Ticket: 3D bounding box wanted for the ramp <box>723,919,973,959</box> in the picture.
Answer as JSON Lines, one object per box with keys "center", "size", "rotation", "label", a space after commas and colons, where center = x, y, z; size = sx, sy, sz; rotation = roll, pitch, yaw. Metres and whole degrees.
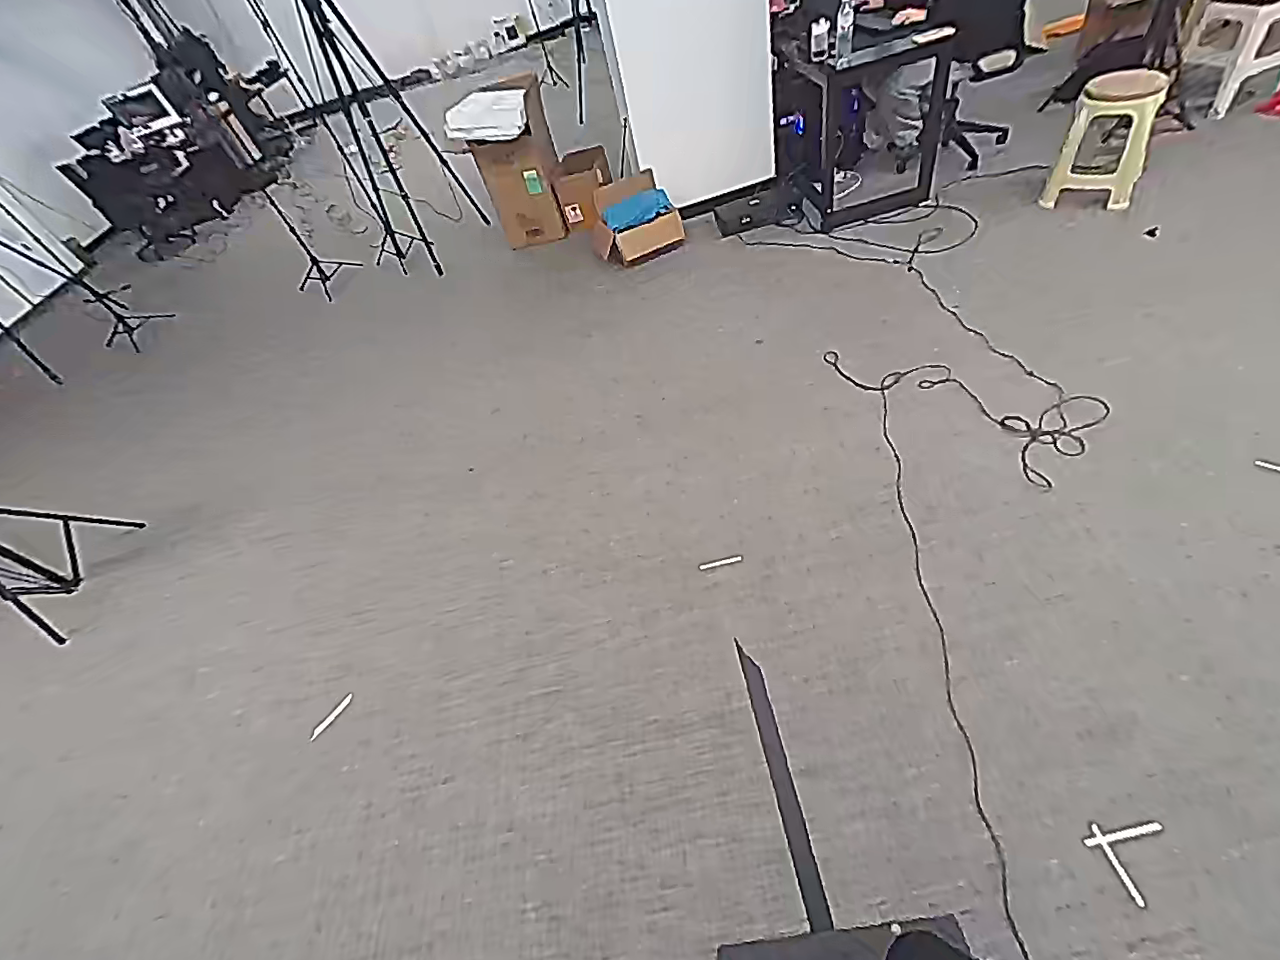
{"center": [0.429, 1.238, 0.715], "size": [0.509, 0.206, 0.991], "rotation": [-15, 46, 6], "label": "ramp"}
